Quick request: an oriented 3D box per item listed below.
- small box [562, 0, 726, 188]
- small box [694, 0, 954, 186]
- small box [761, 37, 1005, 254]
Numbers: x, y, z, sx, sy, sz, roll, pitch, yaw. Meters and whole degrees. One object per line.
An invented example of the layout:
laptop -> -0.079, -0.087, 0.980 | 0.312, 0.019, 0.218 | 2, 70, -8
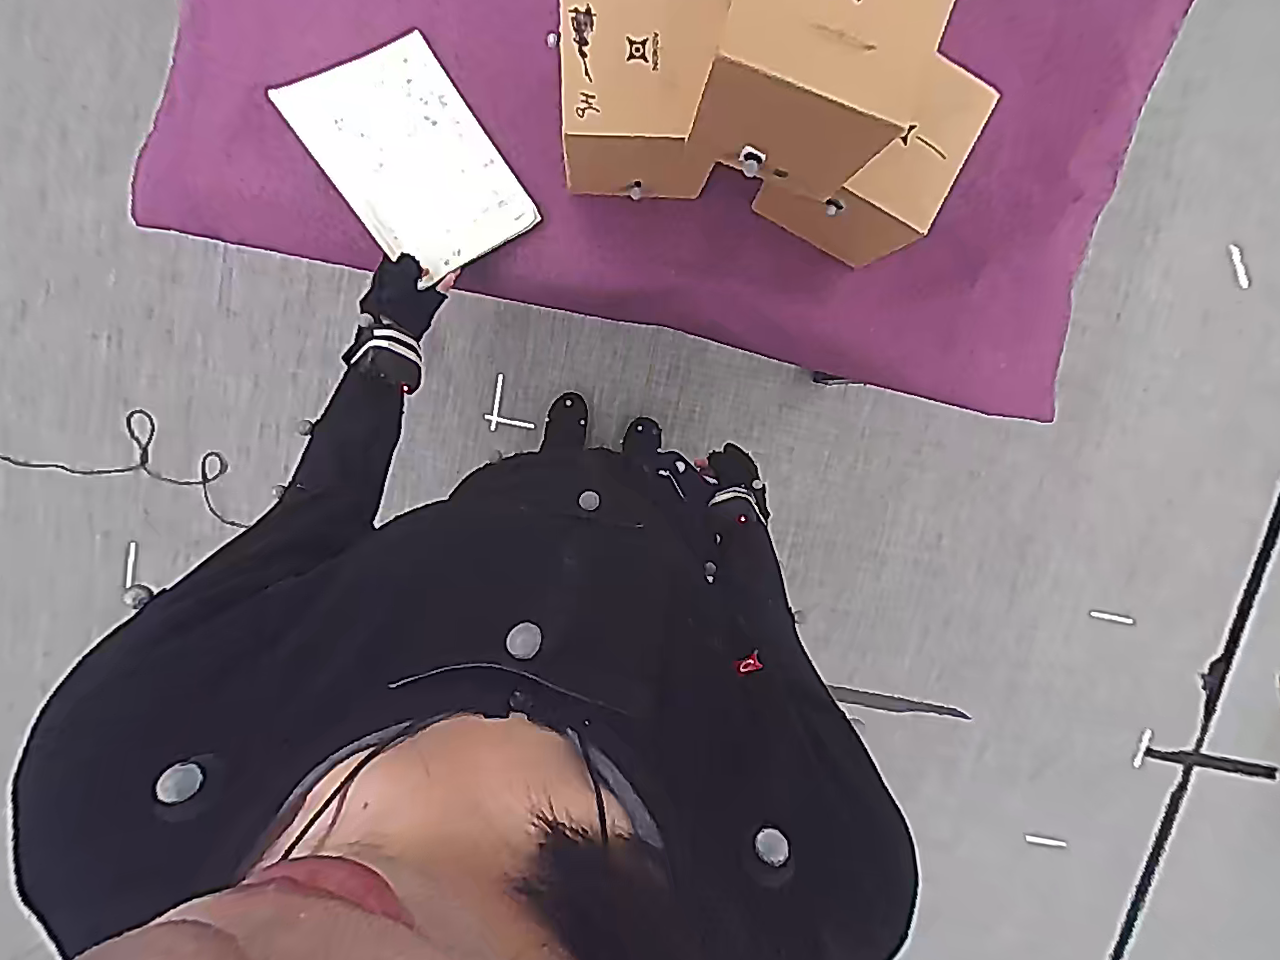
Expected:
small box -> 0.000, -0.457, 0.624 | 0.179, 0.176, 0.168 | 0, 98, -5
small box -> 0.156, -0.402, 0.479 | 0.168, 0.176, 0.179 | 17, 97, -5
small box -> 0.272, -0.401, 0.652 | 0.179, 0.176, 0.168 | 26, 96, -7
